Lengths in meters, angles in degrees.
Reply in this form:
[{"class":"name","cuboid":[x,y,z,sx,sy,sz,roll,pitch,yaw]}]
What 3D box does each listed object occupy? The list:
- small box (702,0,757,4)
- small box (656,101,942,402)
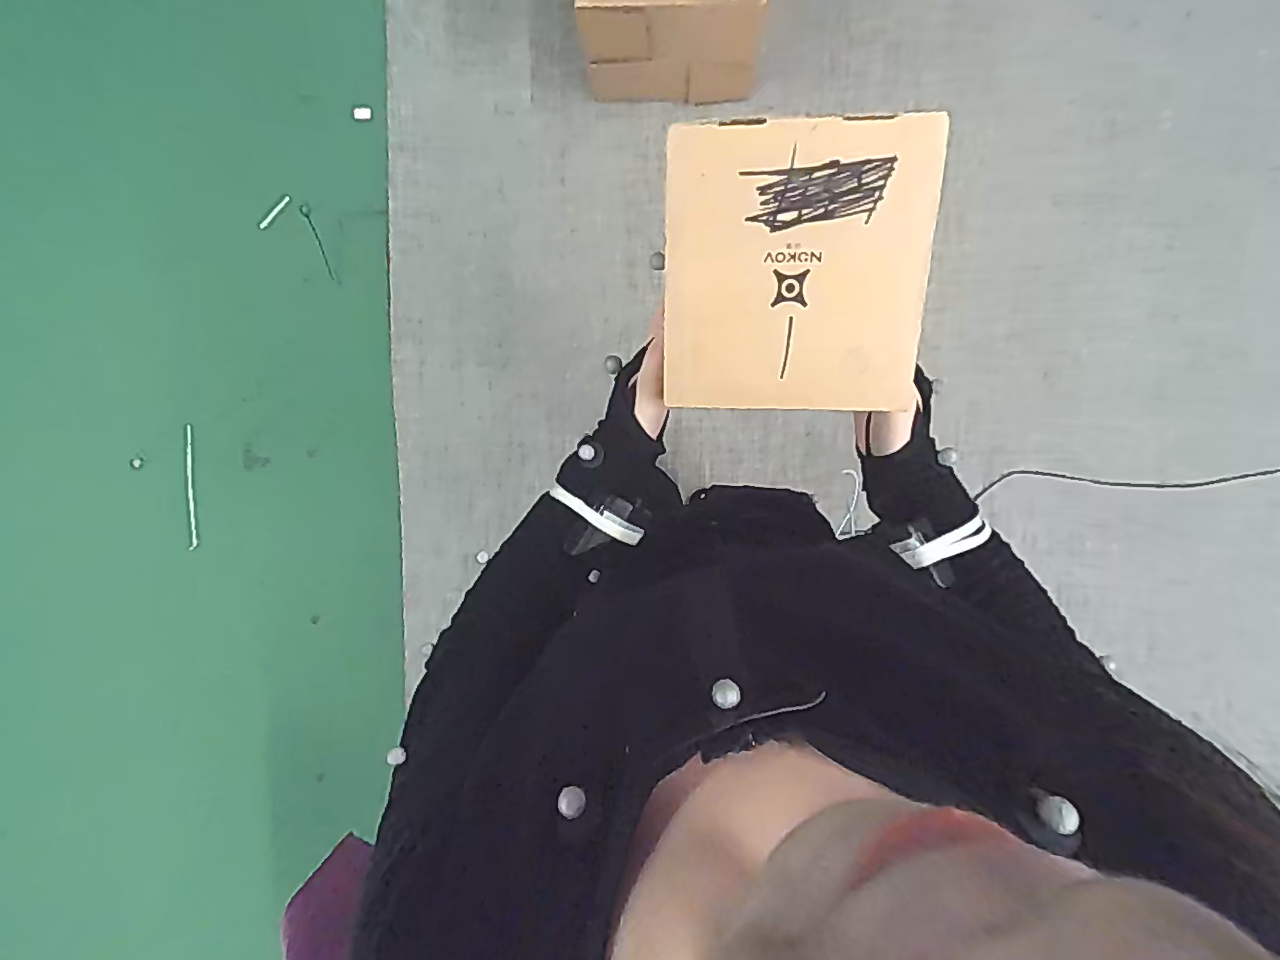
[{"class":"small box","cuboid":[0.167,-1.065,1.025,0.168,0.176,0.179,5,91,5]},{"class":"small box","cuboid":[0.102,-0.161,0.419,0.168,0.176,0.179,3,107,6]}]
